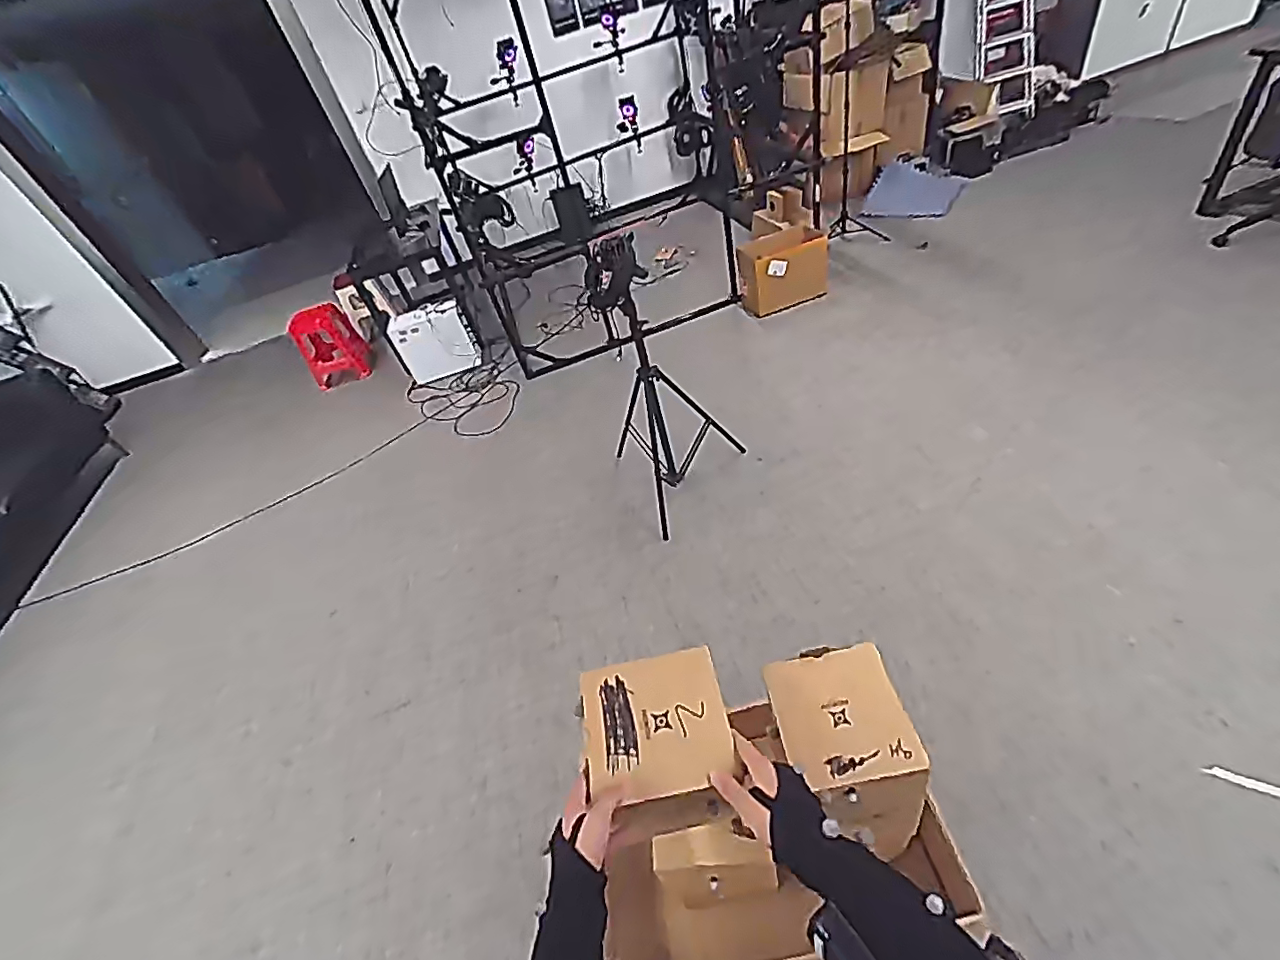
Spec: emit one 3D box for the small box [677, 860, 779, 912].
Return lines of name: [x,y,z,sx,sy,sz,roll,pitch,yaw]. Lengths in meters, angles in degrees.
small box: [0.146,0.658,0.985,0.179,0.176,0.168,-13,41,3]

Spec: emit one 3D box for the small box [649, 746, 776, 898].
small box: [0.117,0.549,0.866,0.179,0.176,0.168,-10,42,7]
